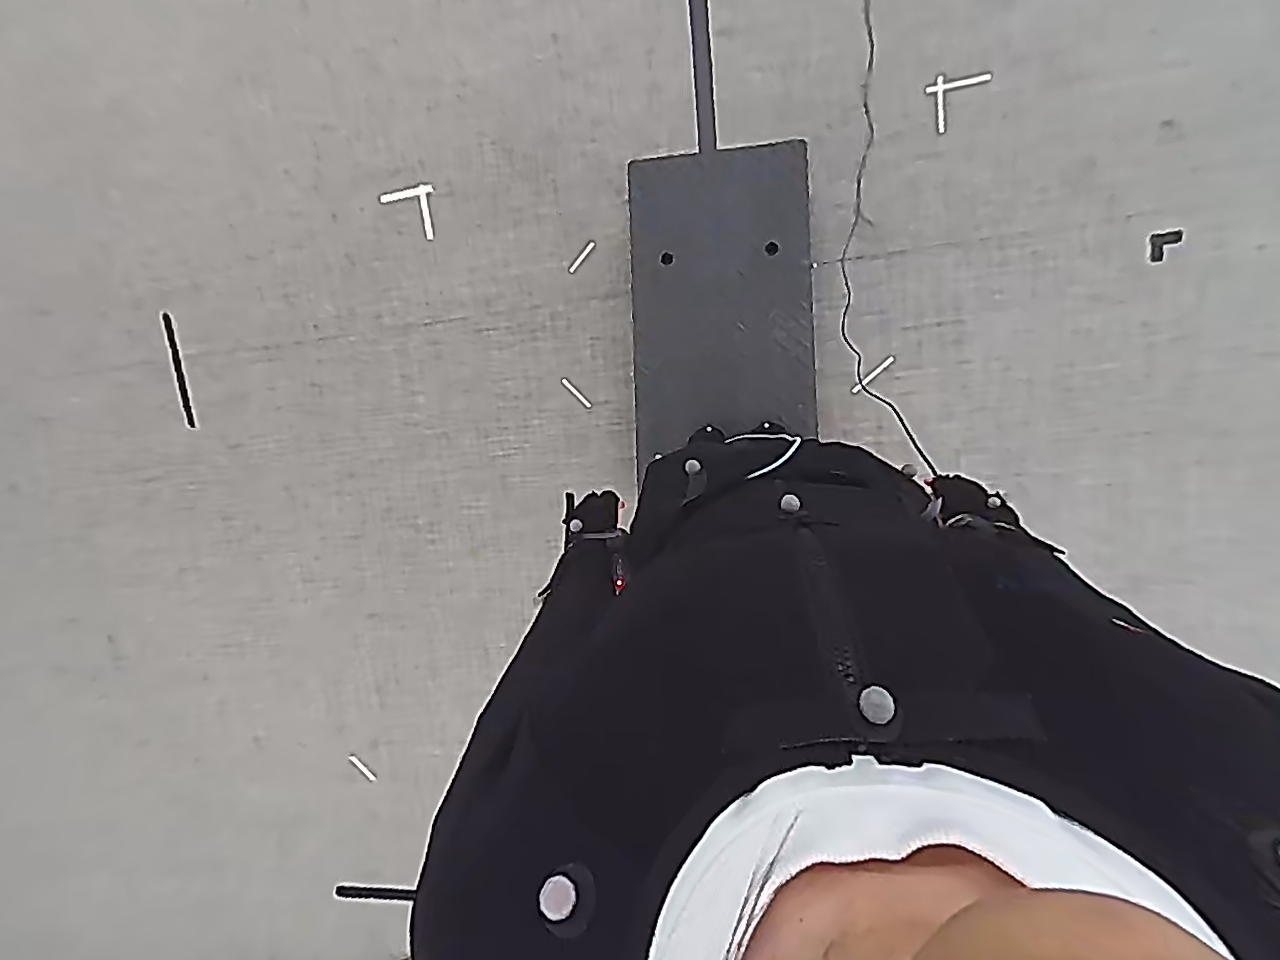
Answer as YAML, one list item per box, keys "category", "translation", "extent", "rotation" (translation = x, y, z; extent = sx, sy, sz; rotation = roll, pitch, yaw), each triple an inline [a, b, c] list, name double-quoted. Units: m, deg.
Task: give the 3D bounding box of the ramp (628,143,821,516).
- category: "ramp"
  translation: [0.218, -0.405, 1.480]
  extent: [0.509, 0.206, 0.991]
  rotation: [-4, 97, 10]
